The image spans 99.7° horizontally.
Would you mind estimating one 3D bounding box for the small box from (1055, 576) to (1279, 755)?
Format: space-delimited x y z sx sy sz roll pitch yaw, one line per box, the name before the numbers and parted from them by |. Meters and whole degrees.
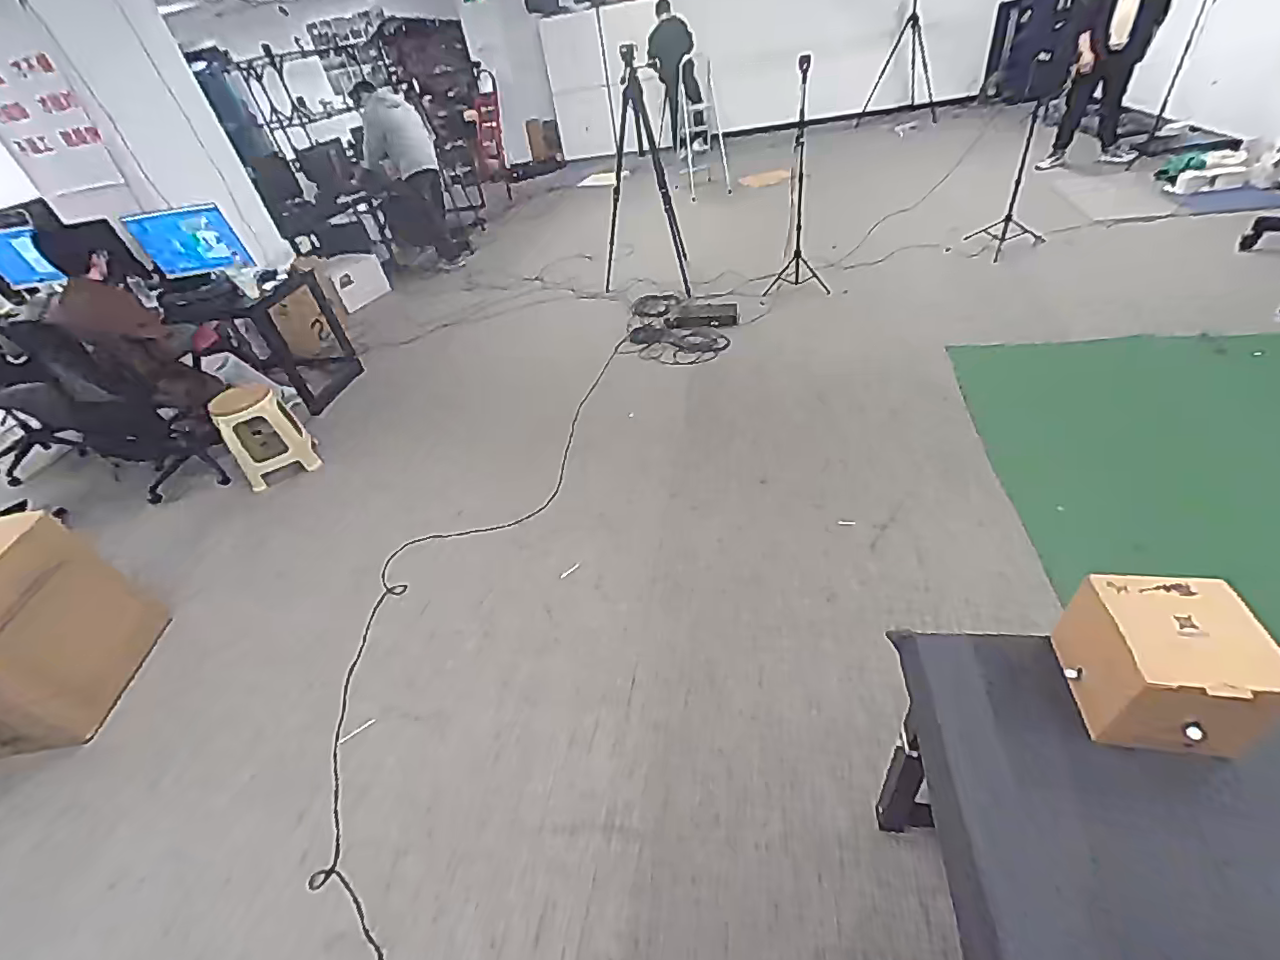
small box | 0.721 0.256 0.749 0.168 0.176 0.179 1 42 14
